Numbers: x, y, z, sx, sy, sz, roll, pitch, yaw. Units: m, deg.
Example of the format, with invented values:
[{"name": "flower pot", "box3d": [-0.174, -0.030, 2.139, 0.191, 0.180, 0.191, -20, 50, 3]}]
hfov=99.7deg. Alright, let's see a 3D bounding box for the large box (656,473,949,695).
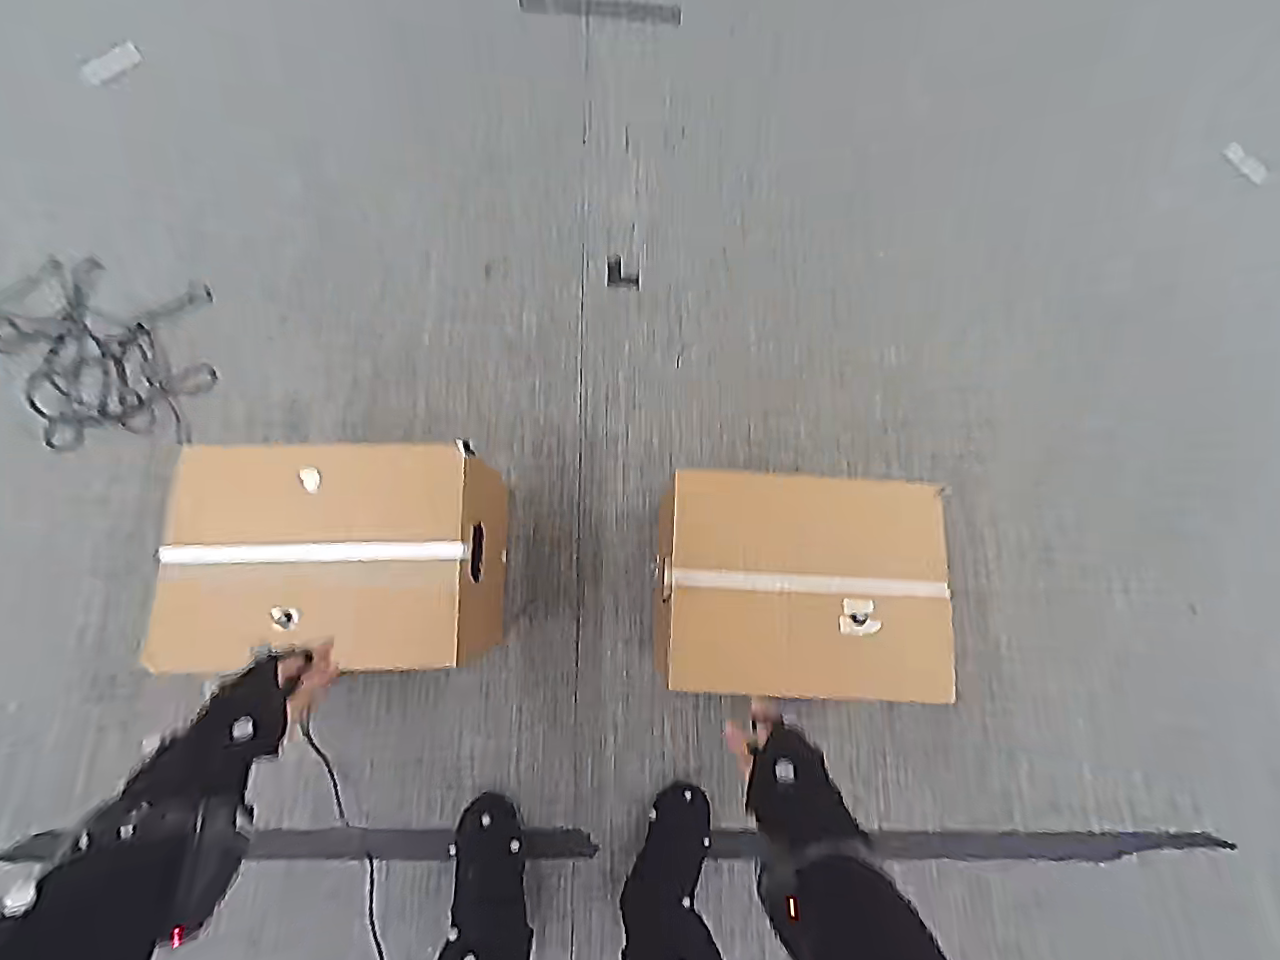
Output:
[{"name": "large box", "box3d": [0.240, 0.182, 0.939, 0.408, 0.320, 0.320, 4, 78, -3]}]
